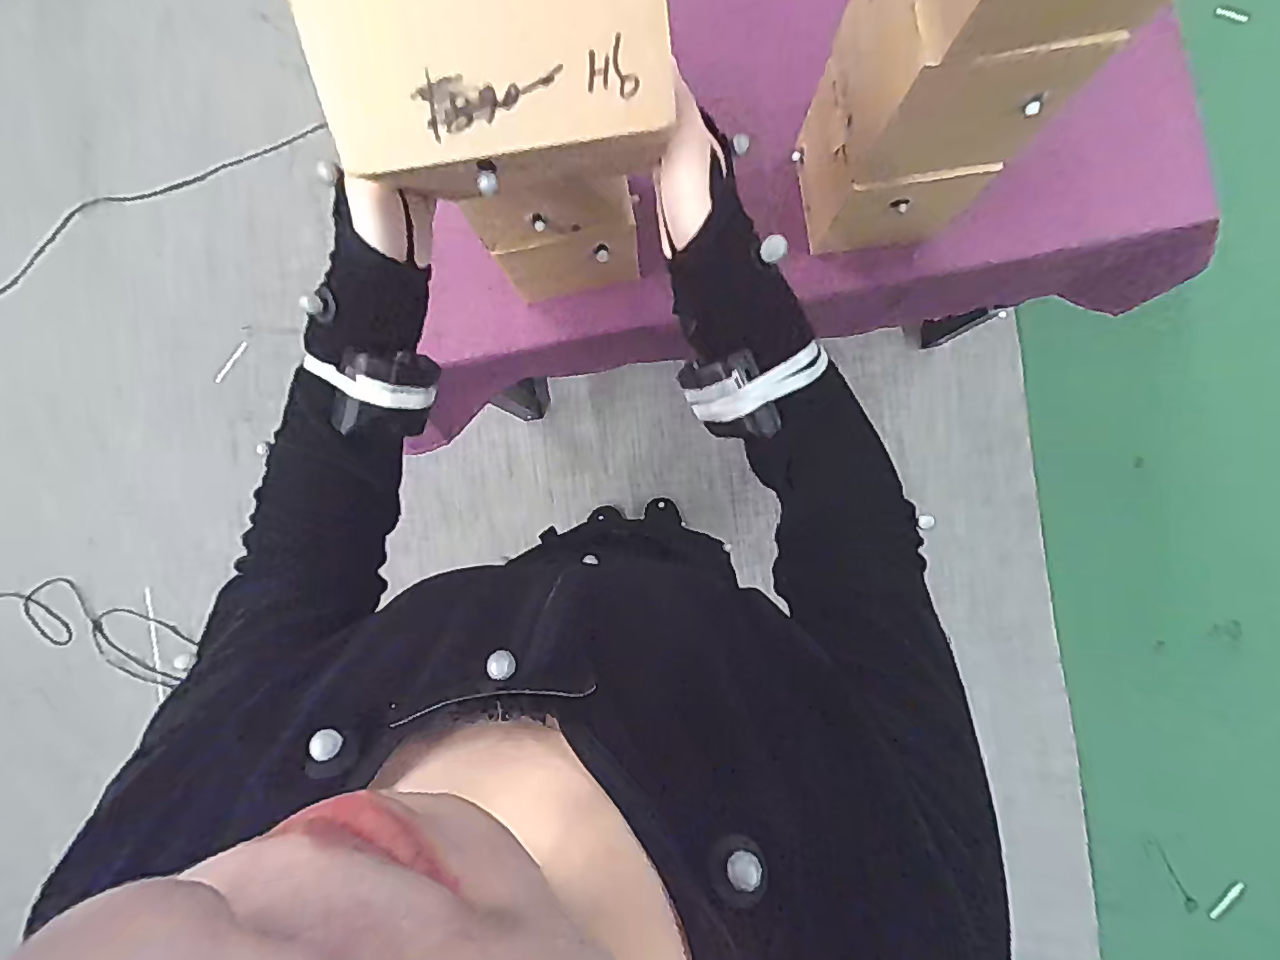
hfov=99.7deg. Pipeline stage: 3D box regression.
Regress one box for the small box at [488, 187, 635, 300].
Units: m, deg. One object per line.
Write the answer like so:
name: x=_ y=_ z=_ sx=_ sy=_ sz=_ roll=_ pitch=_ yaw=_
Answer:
small box: x=-0.103 y=-0.358 z=0.716 sx=0.179 sy=0.176 sz=0.168 roll=-10 pitch=88 yaw=2

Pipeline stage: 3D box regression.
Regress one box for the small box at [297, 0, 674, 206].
small box: x=-0.076 y=-0.266 z=0.307 sx=0.168 sy=0.176 sz=0.179 roll=-7 pitch=114 yaw=1

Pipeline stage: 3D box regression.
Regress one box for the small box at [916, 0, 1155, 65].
small box: x=0.314 y=-0.441 z=0.376 sx=0.179 sy=0.176 sz=0.168 roll=-10 pitch=88 yaw=1

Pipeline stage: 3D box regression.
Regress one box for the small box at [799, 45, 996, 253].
small box: x=0.315 y=-0.417 z=0.703 sx=0.179 sy=0.176 sz=0.168 roll=-8 pitch=89 yaw=1

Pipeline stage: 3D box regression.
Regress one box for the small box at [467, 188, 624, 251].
small box: x=-0.113 y=-0.366 z=0.553 sx=0.168 sy=0.176 sz=0.179 roll=-10 pitch=89 yaw=1
